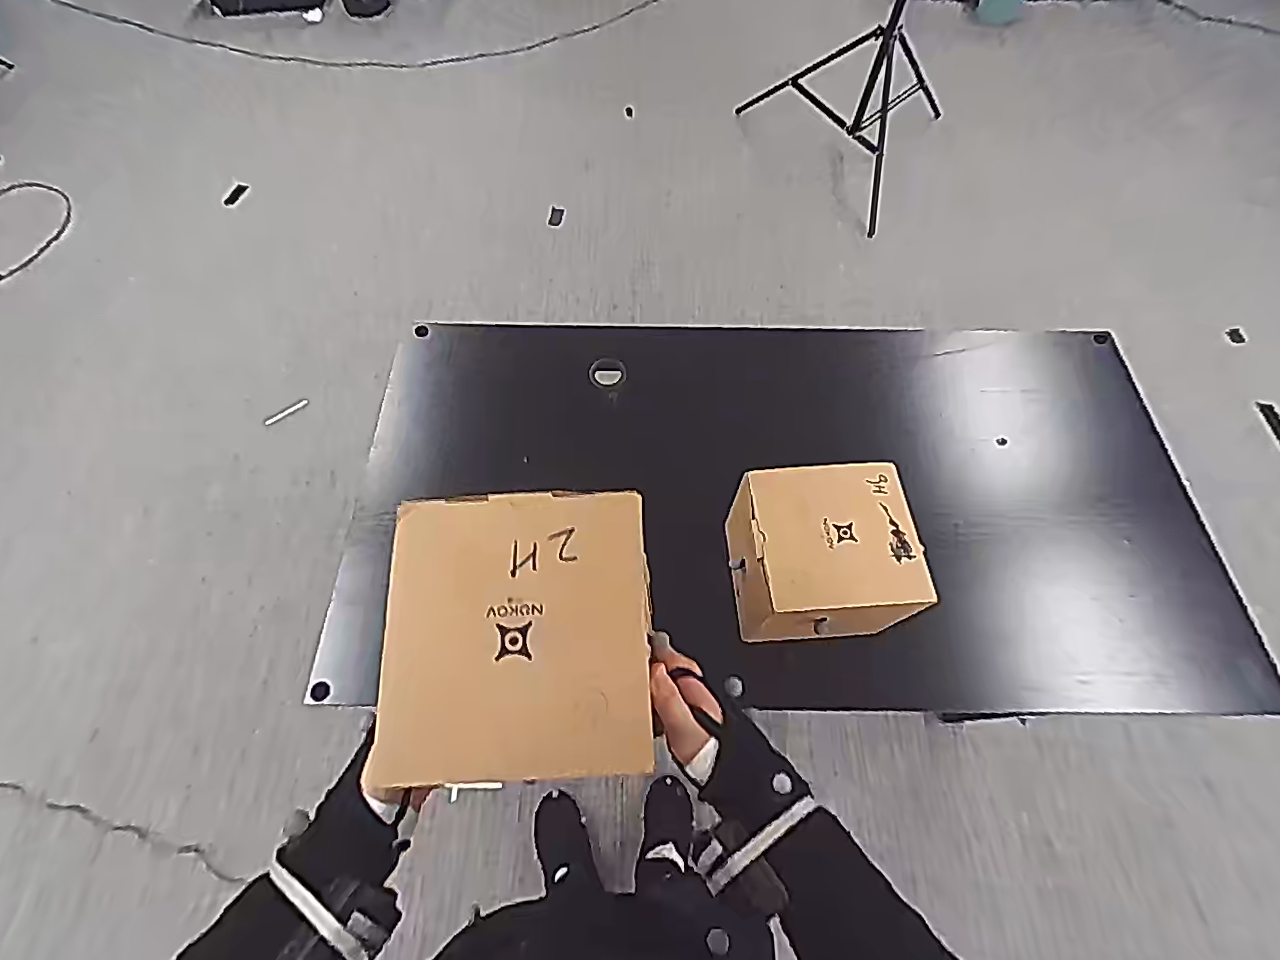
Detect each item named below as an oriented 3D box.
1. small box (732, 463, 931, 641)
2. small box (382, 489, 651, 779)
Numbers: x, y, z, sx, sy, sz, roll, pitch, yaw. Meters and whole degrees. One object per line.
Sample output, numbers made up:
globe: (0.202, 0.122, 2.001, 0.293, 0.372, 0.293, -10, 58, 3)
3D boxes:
small box: (0.212, 0.095, 0.663, 0.179, 0.176, 0.168, -4, 63, -1)
small box: (-0.076, 0.118, 0.423, 0.168, 0.176, 0.179, -3, 70, -1)
